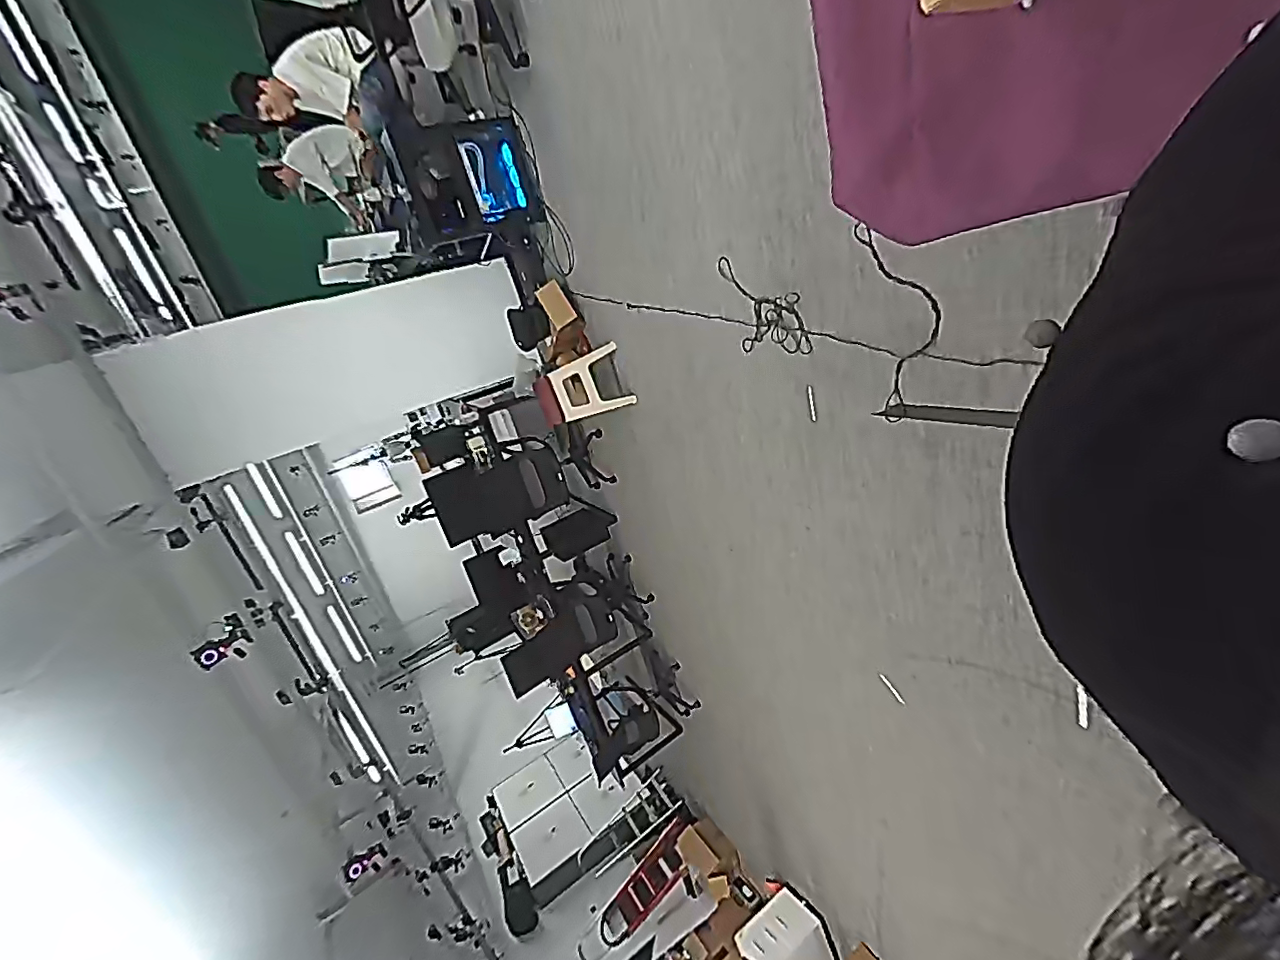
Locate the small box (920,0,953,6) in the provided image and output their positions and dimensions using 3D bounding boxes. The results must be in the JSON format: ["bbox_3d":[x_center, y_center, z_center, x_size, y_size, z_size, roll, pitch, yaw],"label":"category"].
[{"bbox_3d":[0.356,-0.556,0.461,0.168,0.176,0.179,18,129,58],"label":"small box"}]
